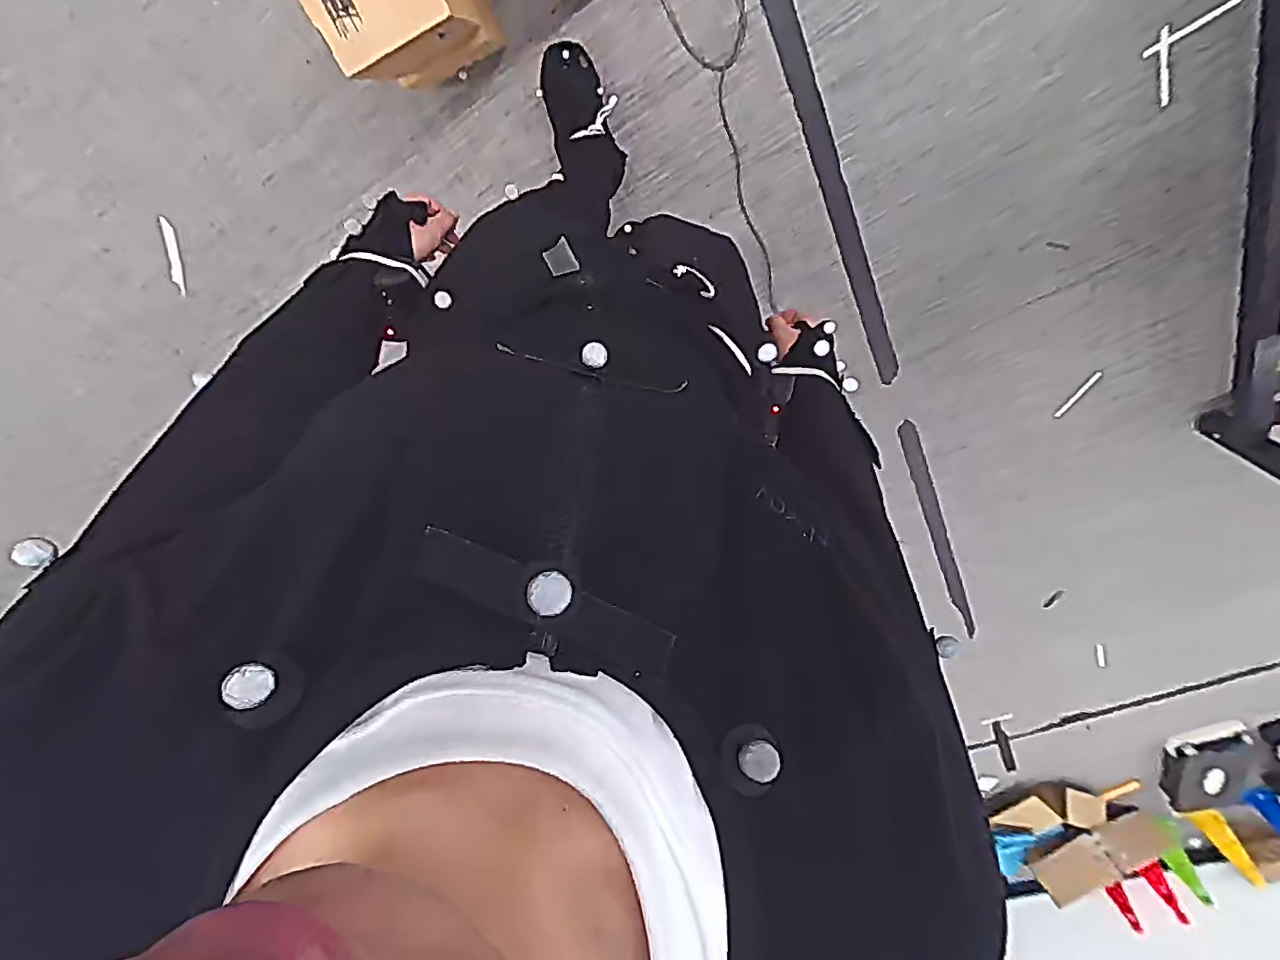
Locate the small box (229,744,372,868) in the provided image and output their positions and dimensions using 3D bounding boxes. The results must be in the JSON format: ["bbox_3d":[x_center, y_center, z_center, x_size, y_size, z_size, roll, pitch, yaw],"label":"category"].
[{"bbox_3d":[-0.712,0.697,1.163,0.179,0.176,0.168,-25,123,16],"label":"small box"}]

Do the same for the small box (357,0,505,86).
[{"bbox_3d":[-0.343,-0.774,0.879,0.168,0.176,0.179,-18,125,13],"label":"small box"}]
